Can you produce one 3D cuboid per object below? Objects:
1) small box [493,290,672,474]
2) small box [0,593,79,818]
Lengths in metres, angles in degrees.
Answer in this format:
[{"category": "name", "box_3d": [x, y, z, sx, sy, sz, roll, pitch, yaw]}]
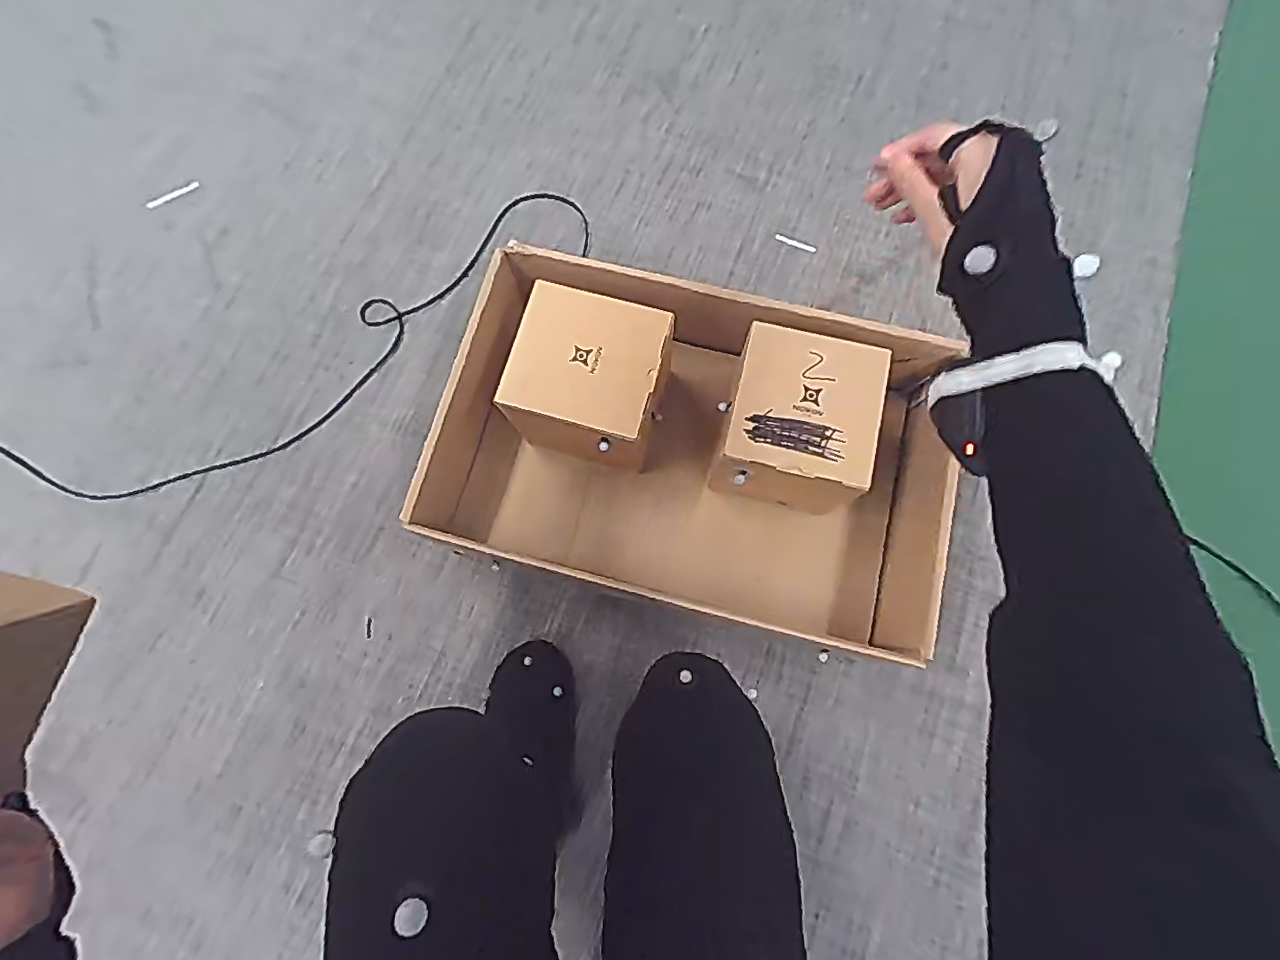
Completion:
[{"category": "small box", "box_3d": [-0.066, -0.117, 0.714, 0.179, 0.176, 0.168, 15, 78, 3]}, {"category": "small box", "box_3d": [-0.408, 0.126, 0.223, 0.168, 0.176, 0.179, 22, 84, -12]}]
